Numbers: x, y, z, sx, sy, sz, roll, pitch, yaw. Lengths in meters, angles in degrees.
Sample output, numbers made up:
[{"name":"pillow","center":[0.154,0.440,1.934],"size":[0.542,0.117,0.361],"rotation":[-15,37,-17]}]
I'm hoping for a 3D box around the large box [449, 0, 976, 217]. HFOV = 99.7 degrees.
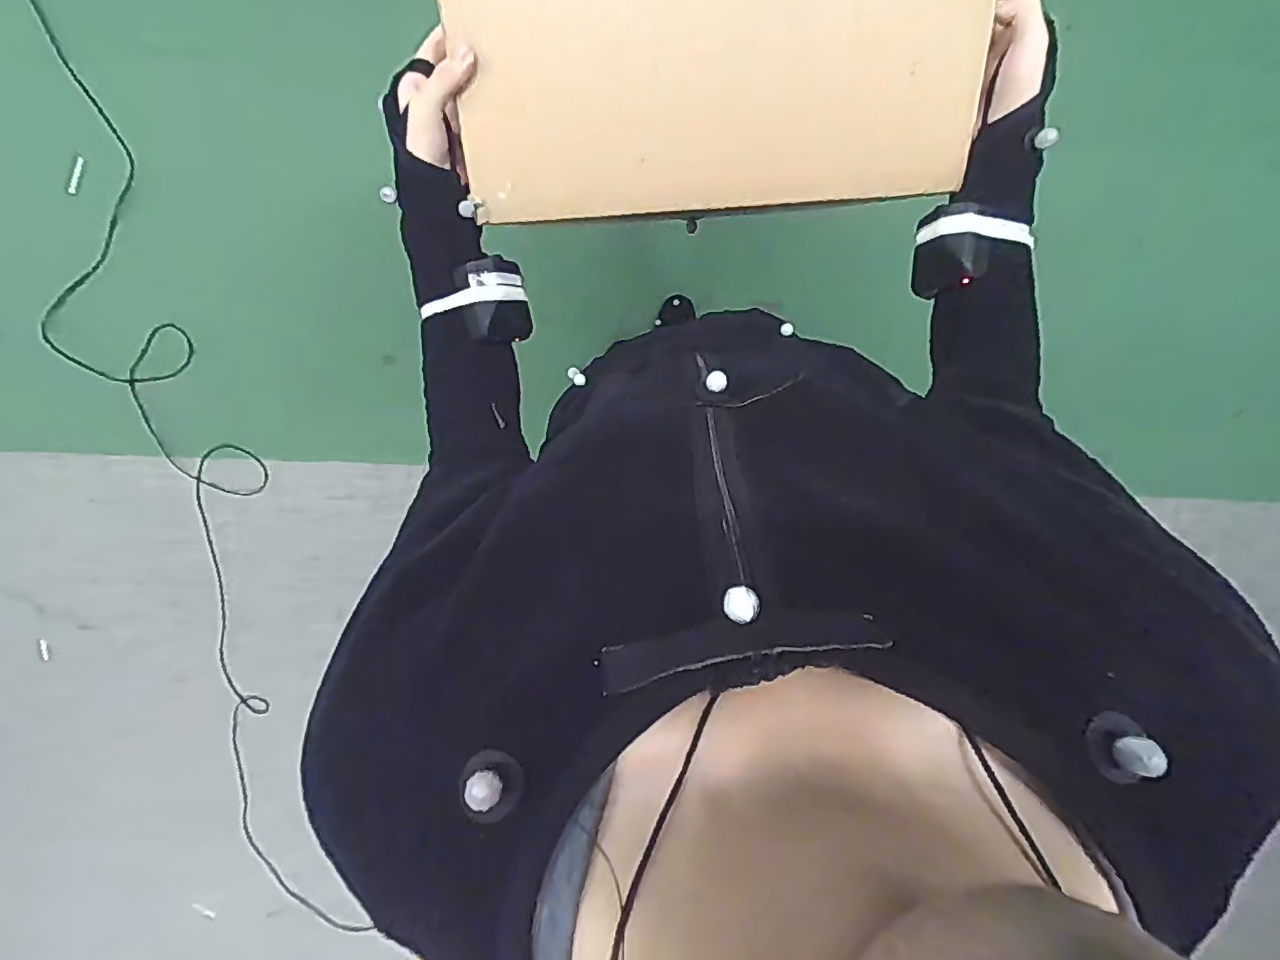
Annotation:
[{"name":"large box","center":[0.050,-0.442,0.525],"size":[0.408,0.320,0.320],"rotation":[-5,115,-1]}]
